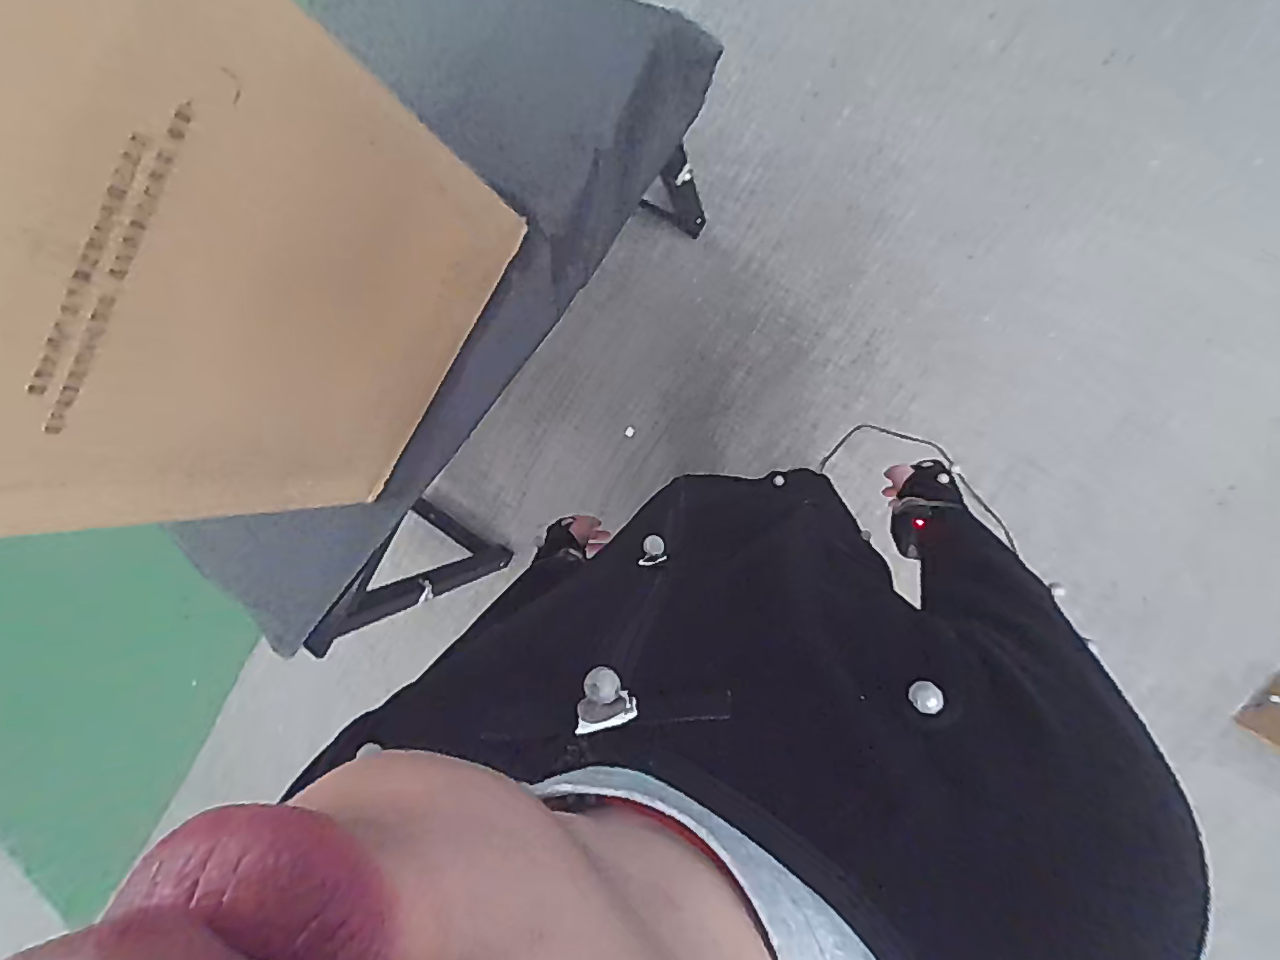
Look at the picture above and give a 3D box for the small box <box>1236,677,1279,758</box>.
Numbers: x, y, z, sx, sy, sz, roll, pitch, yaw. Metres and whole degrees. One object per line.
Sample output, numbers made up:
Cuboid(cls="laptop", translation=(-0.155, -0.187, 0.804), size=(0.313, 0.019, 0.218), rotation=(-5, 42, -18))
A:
Cuboid(cls="small box", translation=(1.469, 0.553, 1.148), size=(0.179, 0.176, 0.168), rotation=(38, 98, 12))
